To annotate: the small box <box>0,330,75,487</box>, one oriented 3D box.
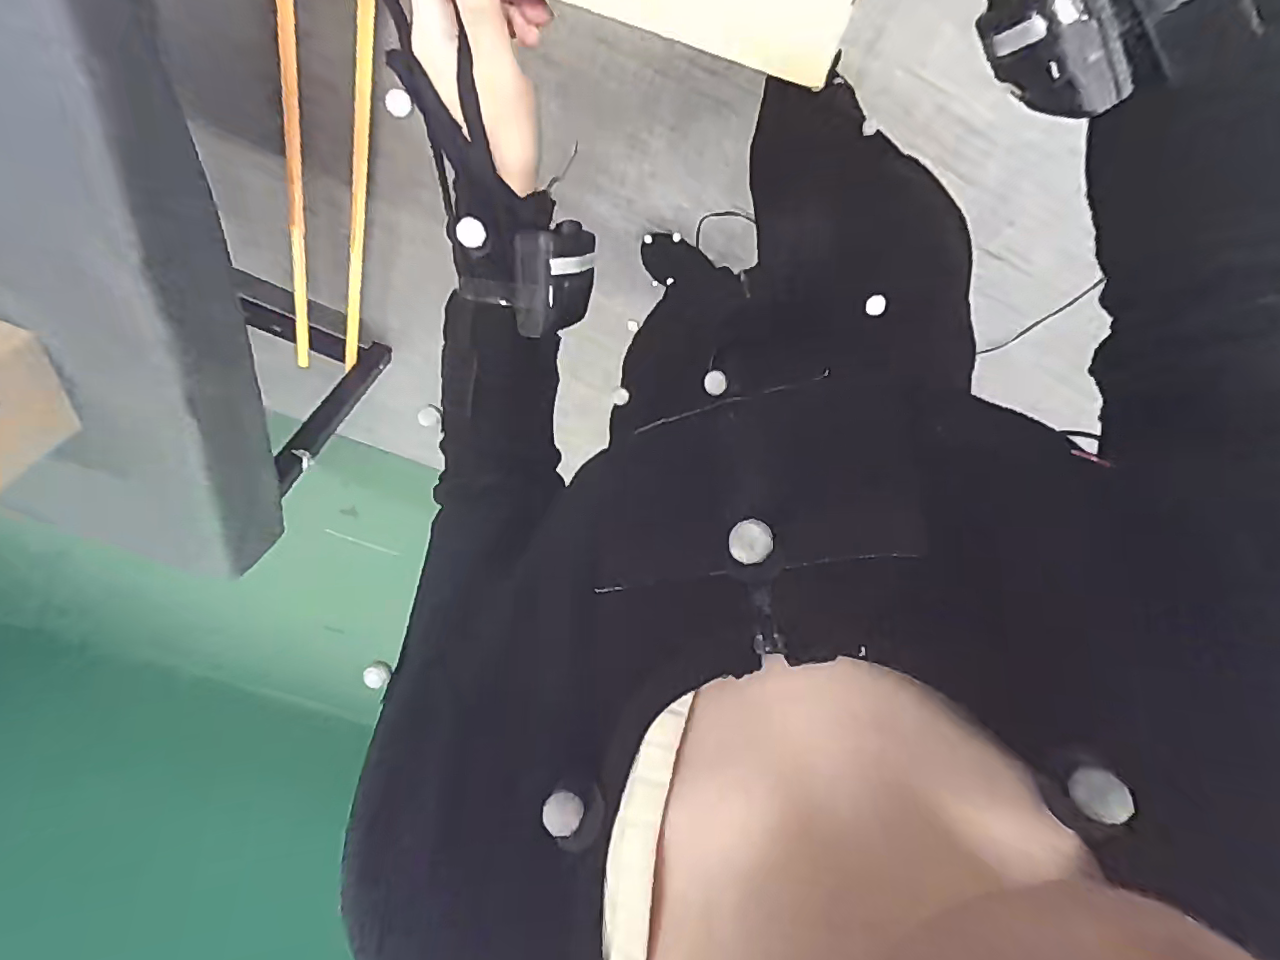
[{"bbox_3d":[-0.841,-0.098,0.632,0.168,0.176,0.179,23,136,-11],"label":"small box"}]
